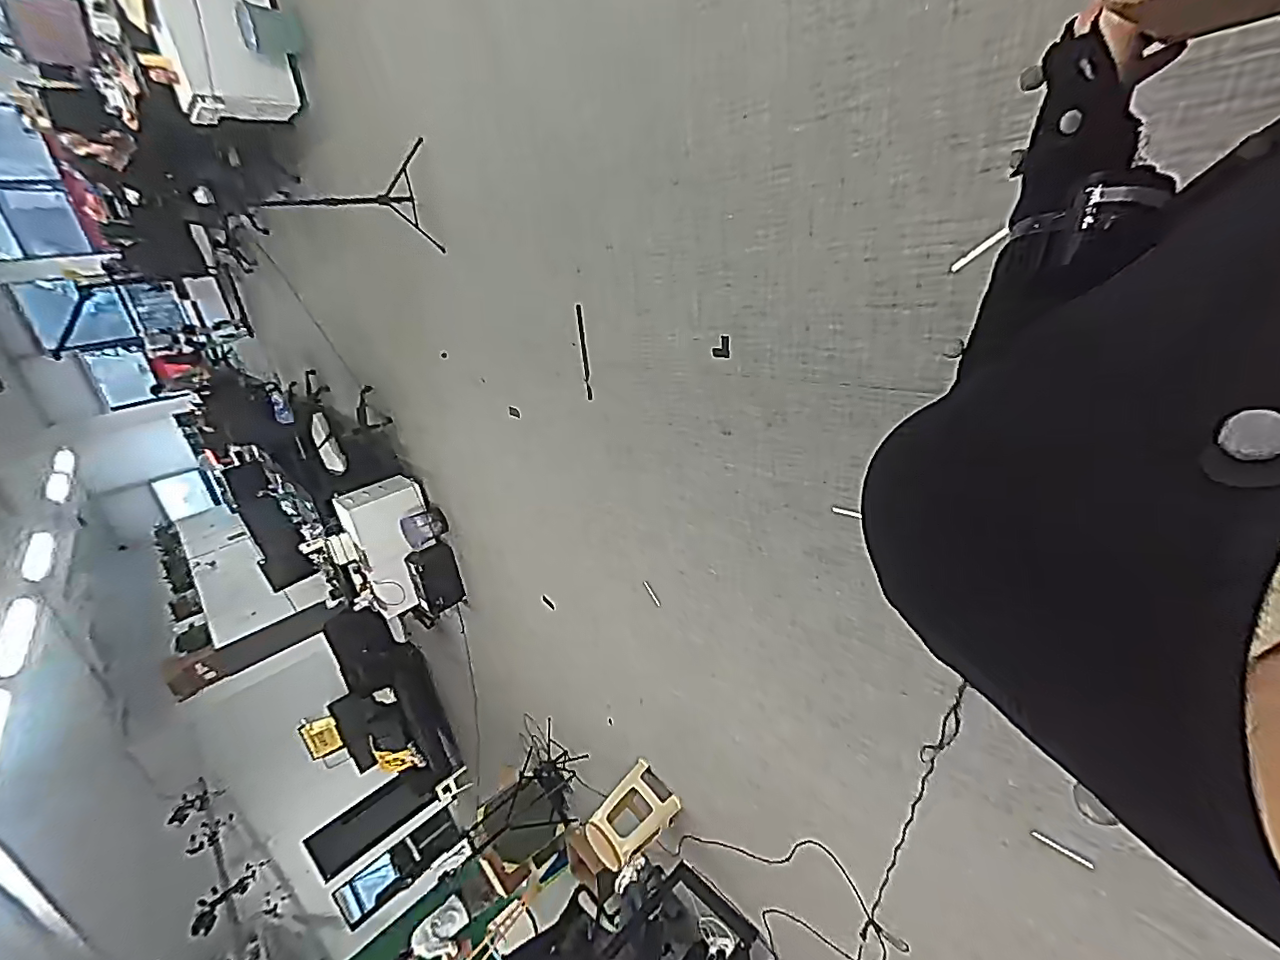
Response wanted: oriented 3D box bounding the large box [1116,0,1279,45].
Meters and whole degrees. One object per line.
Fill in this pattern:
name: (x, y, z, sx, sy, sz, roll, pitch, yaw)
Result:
large box: (0.397, -0.367, 0.120, 0.408, 0.320, 0.320, 11, 125, 42)
